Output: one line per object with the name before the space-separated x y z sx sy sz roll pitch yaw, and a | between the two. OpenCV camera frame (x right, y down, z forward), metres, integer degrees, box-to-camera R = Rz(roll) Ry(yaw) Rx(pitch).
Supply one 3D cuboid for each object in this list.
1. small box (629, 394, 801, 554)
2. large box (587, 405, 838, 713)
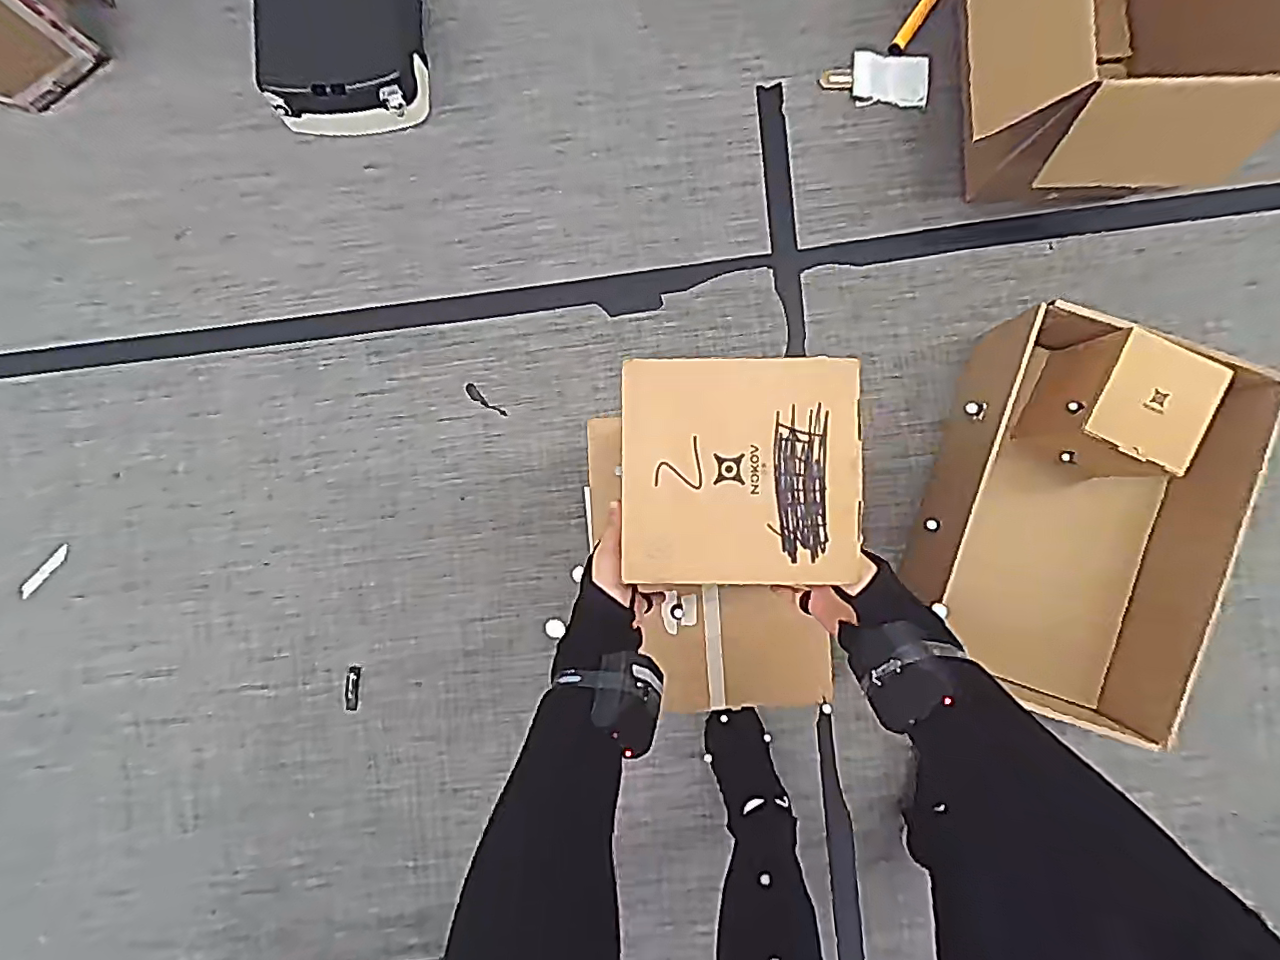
small box | 0.079 -0.004 0.633 0.179 0.176 0.168 0 89 1
large box | 0.102 0.106 0.878 0.320 0.320 0.408 -4 90 3
